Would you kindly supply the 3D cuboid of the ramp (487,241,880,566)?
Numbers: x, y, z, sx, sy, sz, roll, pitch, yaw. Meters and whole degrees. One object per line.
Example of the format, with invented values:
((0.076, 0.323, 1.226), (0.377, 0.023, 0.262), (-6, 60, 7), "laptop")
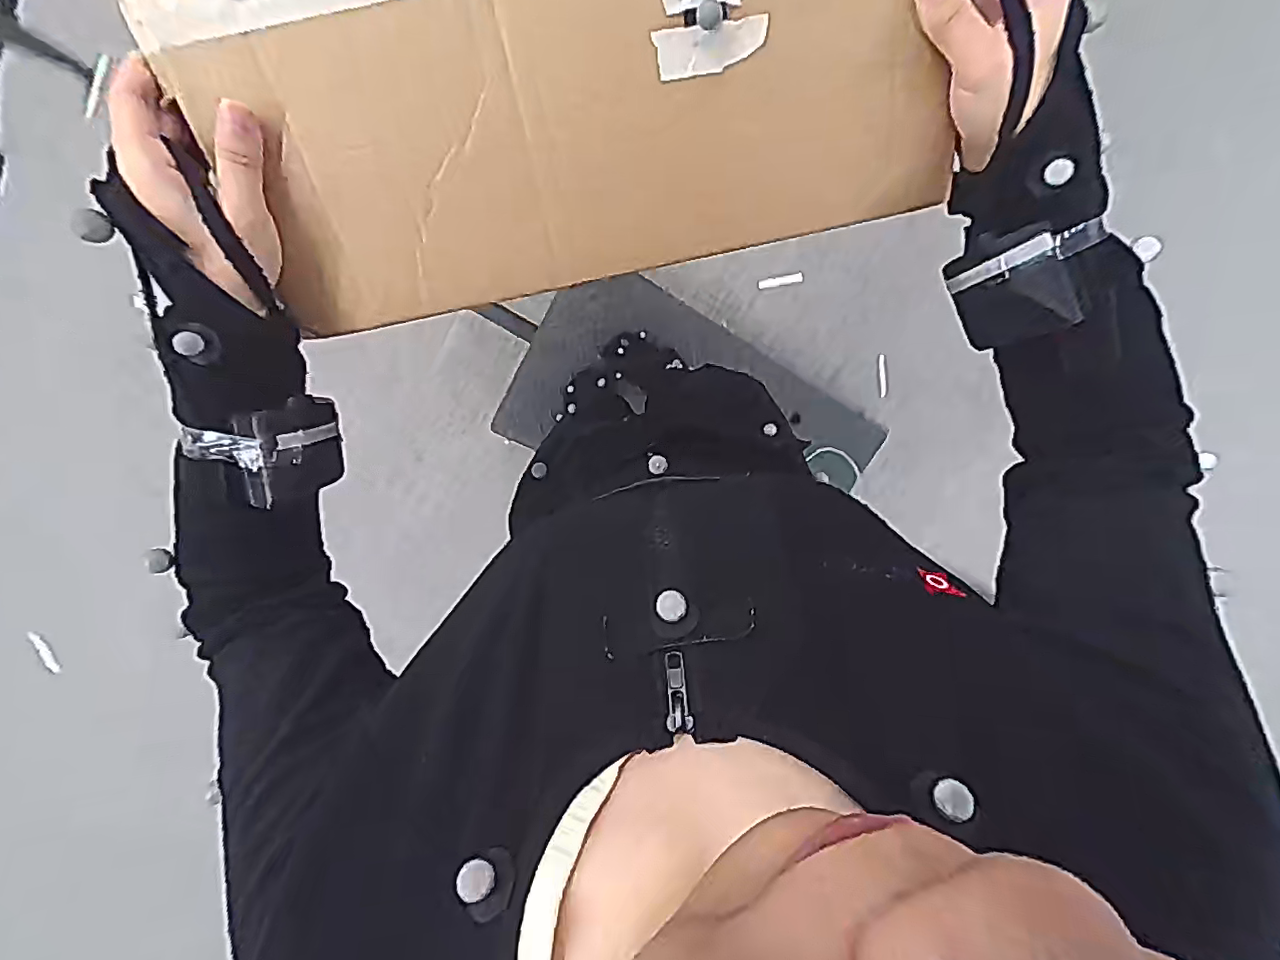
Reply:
((0.165, -0.135, 1.425), (0.991, 0.206, 0.509), (26, 101, -11), "ramp")
